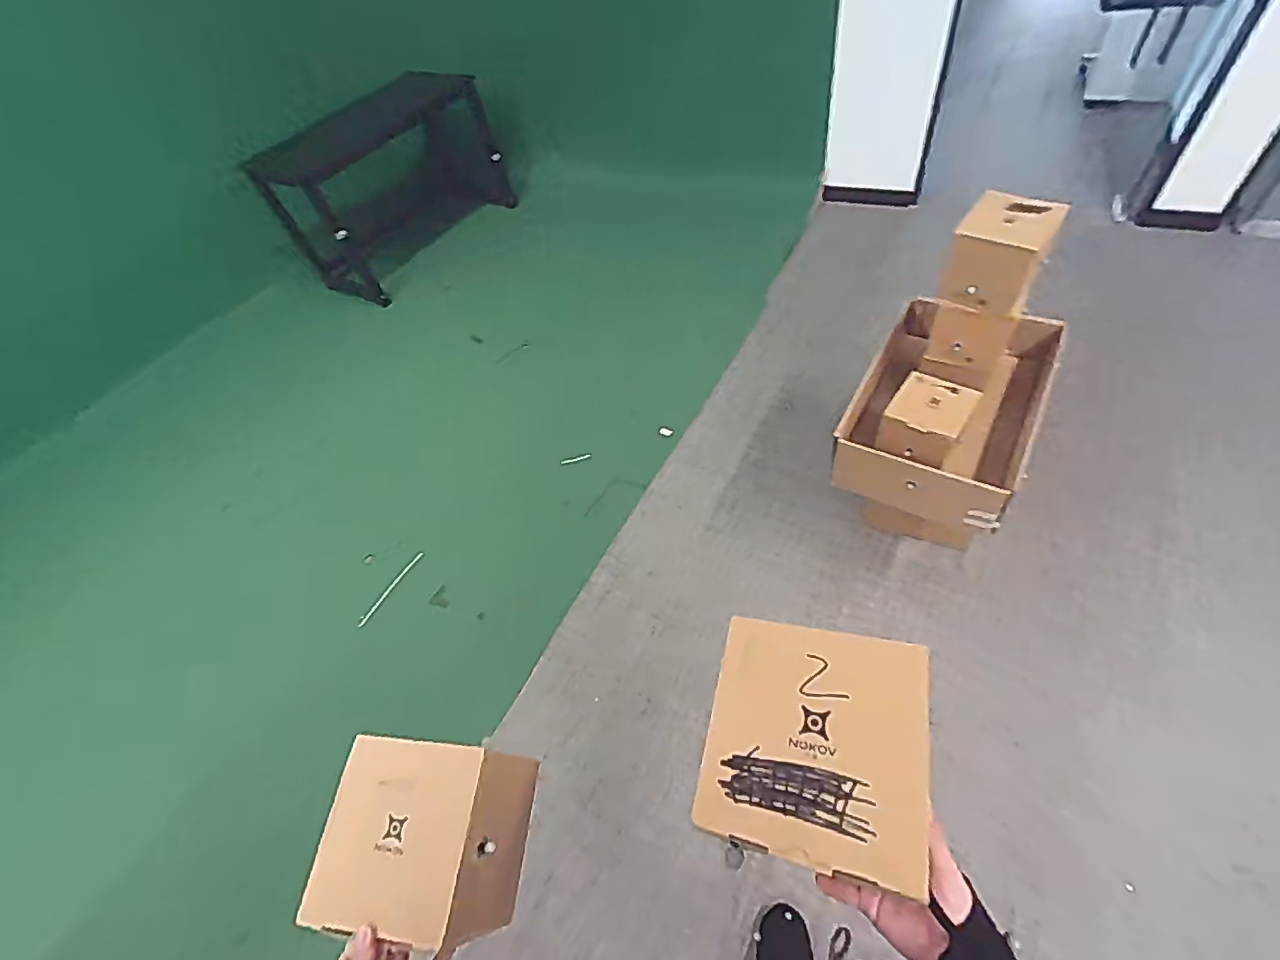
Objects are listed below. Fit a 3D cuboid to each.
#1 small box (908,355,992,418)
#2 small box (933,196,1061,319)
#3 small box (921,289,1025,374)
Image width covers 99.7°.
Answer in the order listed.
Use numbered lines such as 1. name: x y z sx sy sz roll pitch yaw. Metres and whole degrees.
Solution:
1. small box: 0.844 -0.298 1.457 0.168 0.176 0.179 21 61 26
2. small box: 0.782 -0.494 1.203 0.168 0.176 0.179 31 67 30
3. small box: 0.813 -0.392 1.329 0.168 0.176 0.179 21 62 25
